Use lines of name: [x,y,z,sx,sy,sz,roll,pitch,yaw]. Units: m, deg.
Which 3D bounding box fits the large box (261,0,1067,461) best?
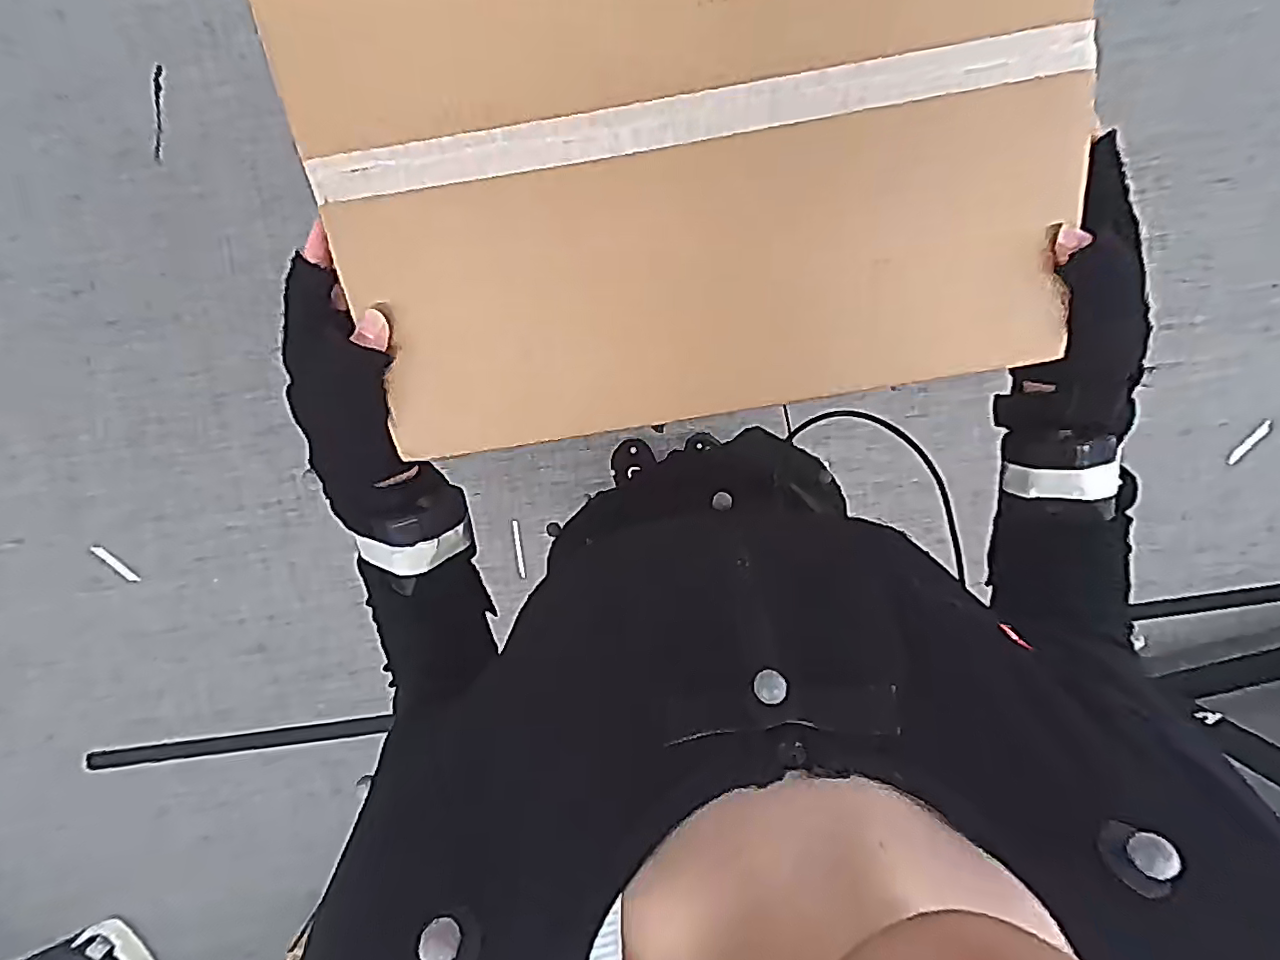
large box: [0.020,-0.237,0.429,0.408,0.320,0.320,-9,109,2]
